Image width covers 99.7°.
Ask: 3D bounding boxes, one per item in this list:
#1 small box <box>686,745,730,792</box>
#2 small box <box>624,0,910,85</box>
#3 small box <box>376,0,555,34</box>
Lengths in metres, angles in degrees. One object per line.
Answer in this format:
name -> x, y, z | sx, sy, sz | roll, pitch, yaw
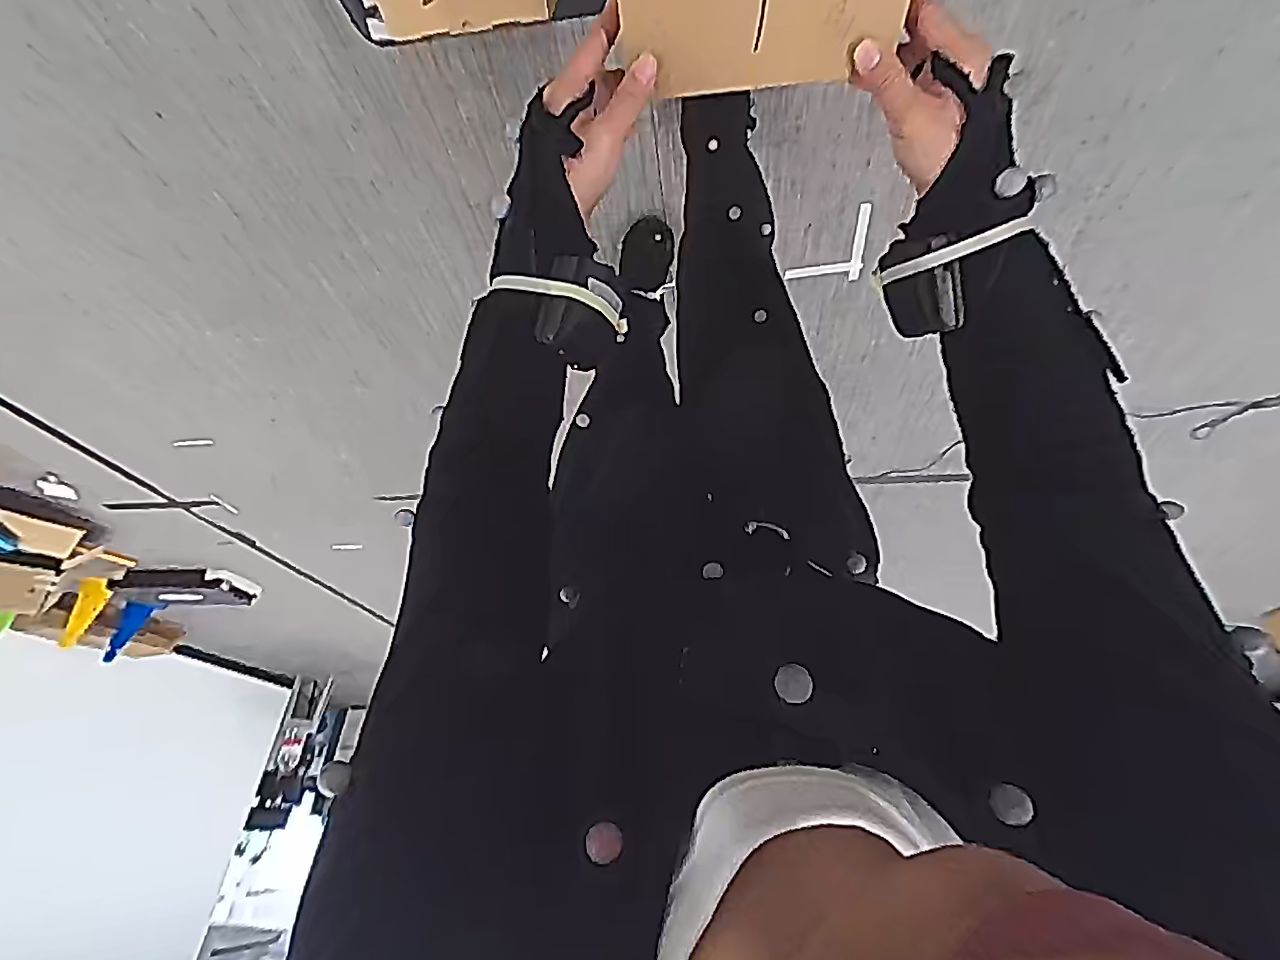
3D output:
small box -> 0.289, 1.224, 2.294 | 0.179, 0.176, 0.168 | -2, 148, 8
small box -> 0.067, -0.367, 0.302 | 0.168, 0.176, 0.179 | -3, 151, 4
small box -> -0.172, -0.555, 0.495 | 0.168, 0.176, 0.179 | -2, 148, 7
